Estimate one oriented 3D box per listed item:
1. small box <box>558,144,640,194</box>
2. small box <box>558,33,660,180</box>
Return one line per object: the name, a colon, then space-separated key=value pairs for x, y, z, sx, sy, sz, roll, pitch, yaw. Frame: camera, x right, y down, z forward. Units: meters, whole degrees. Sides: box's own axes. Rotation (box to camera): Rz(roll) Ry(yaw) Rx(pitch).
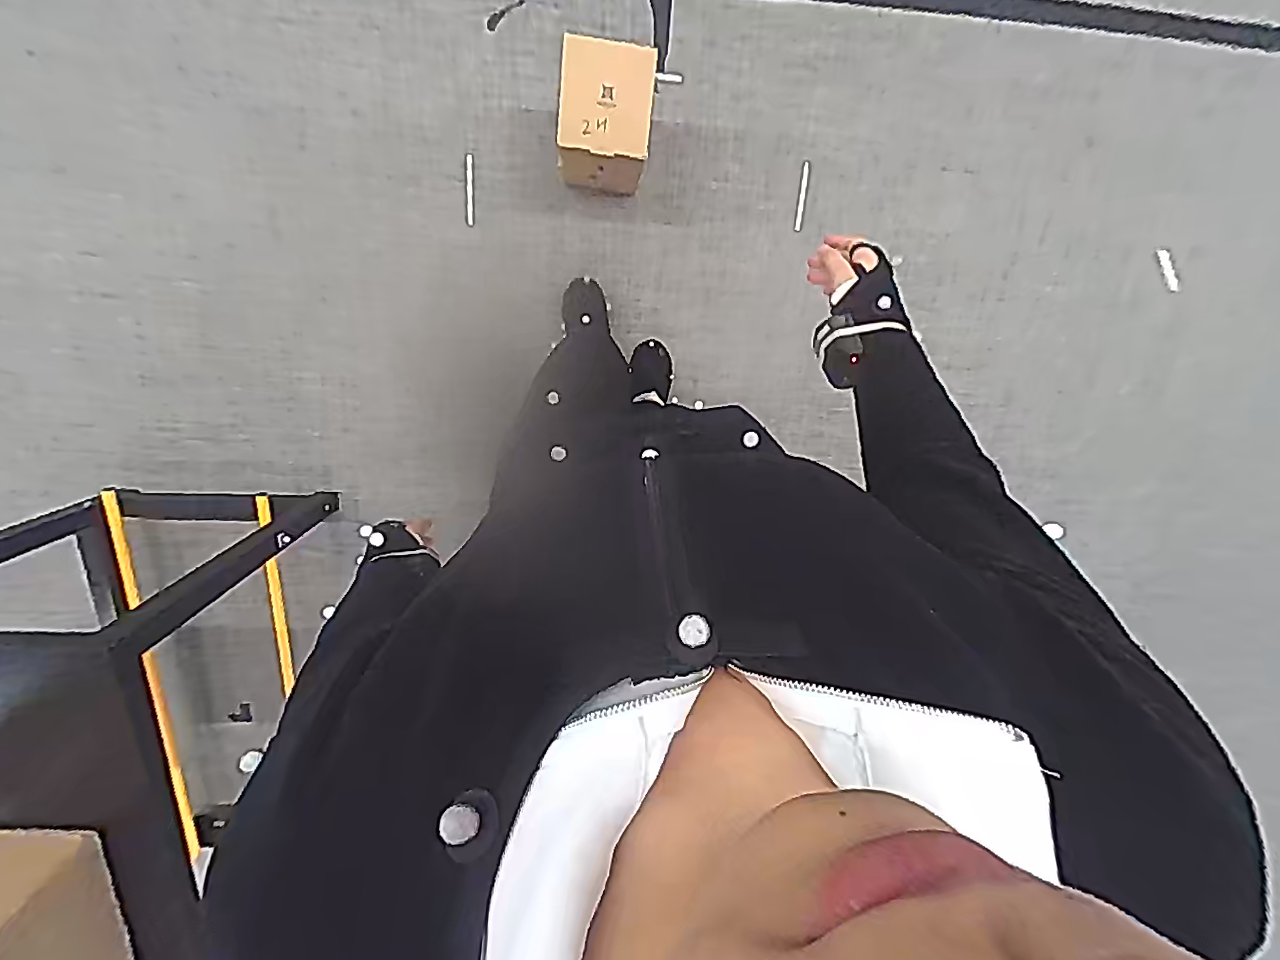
small box: x=-0.079 y=-0.745 z=1.190 sx=0.179 sy=0.176 sz=0.168 roll=6 pitch=107 yaw=-6
small box: x=-0.062 y=-0.699 z=1.032 sx=0.168 sy=0.176 sz=0.179 roll=6 pitch=108 yaw=-5
